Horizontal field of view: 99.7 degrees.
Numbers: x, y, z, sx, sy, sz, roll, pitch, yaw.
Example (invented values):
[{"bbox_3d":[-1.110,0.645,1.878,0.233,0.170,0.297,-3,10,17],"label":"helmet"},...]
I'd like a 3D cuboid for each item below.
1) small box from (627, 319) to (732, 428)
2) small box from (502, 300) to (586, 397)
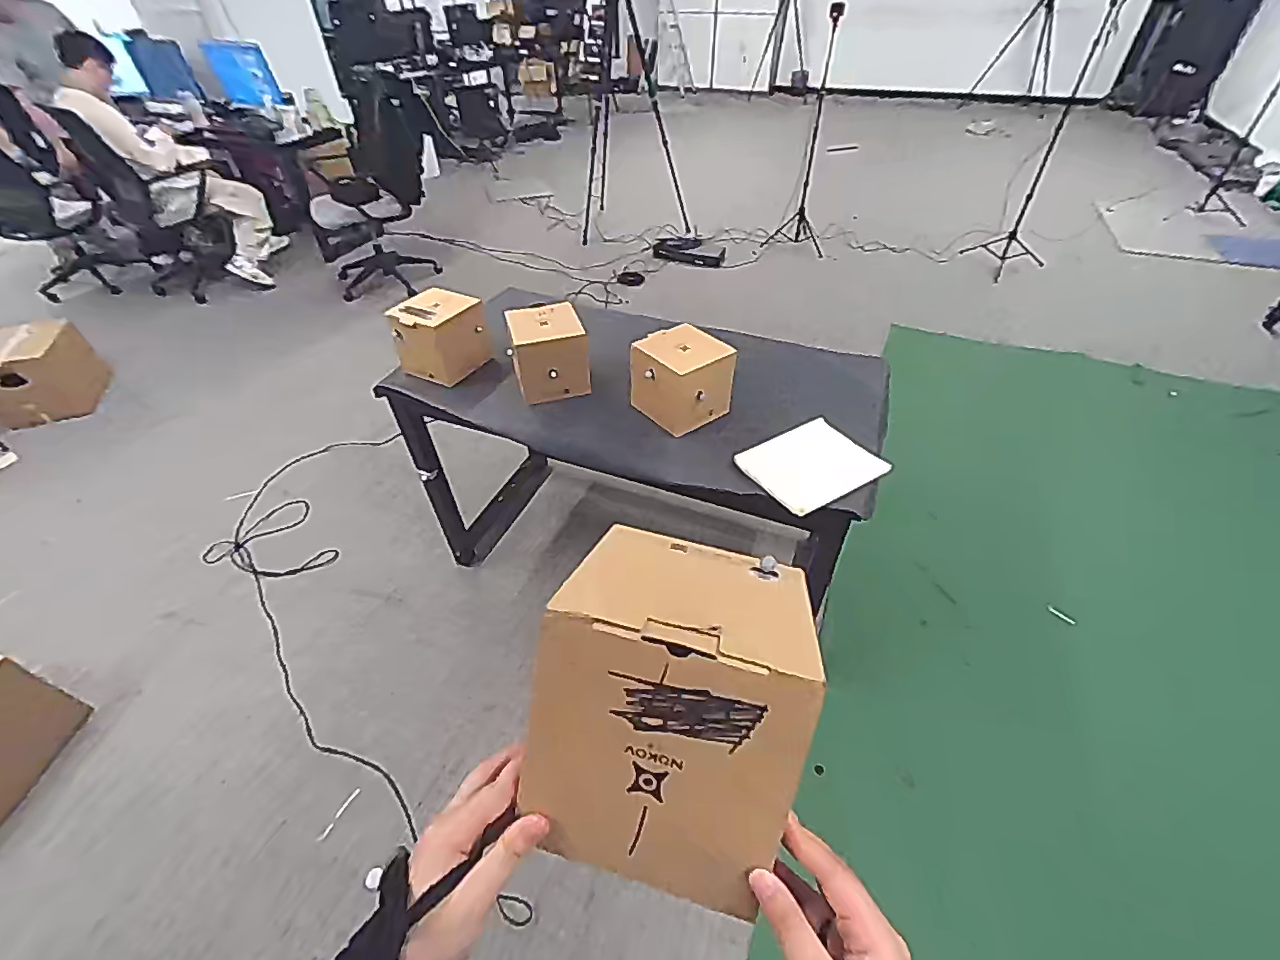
[{"bbox_3d":[0.089,-0.239,1.242,0.168,0.176,0.179,-29,49,-26],"label":"small box"},{"bbox_3d":[-0.234,-0.319,1.333,0.168,0.176,0.179,-13,45,-13],"label":"small box"}]
